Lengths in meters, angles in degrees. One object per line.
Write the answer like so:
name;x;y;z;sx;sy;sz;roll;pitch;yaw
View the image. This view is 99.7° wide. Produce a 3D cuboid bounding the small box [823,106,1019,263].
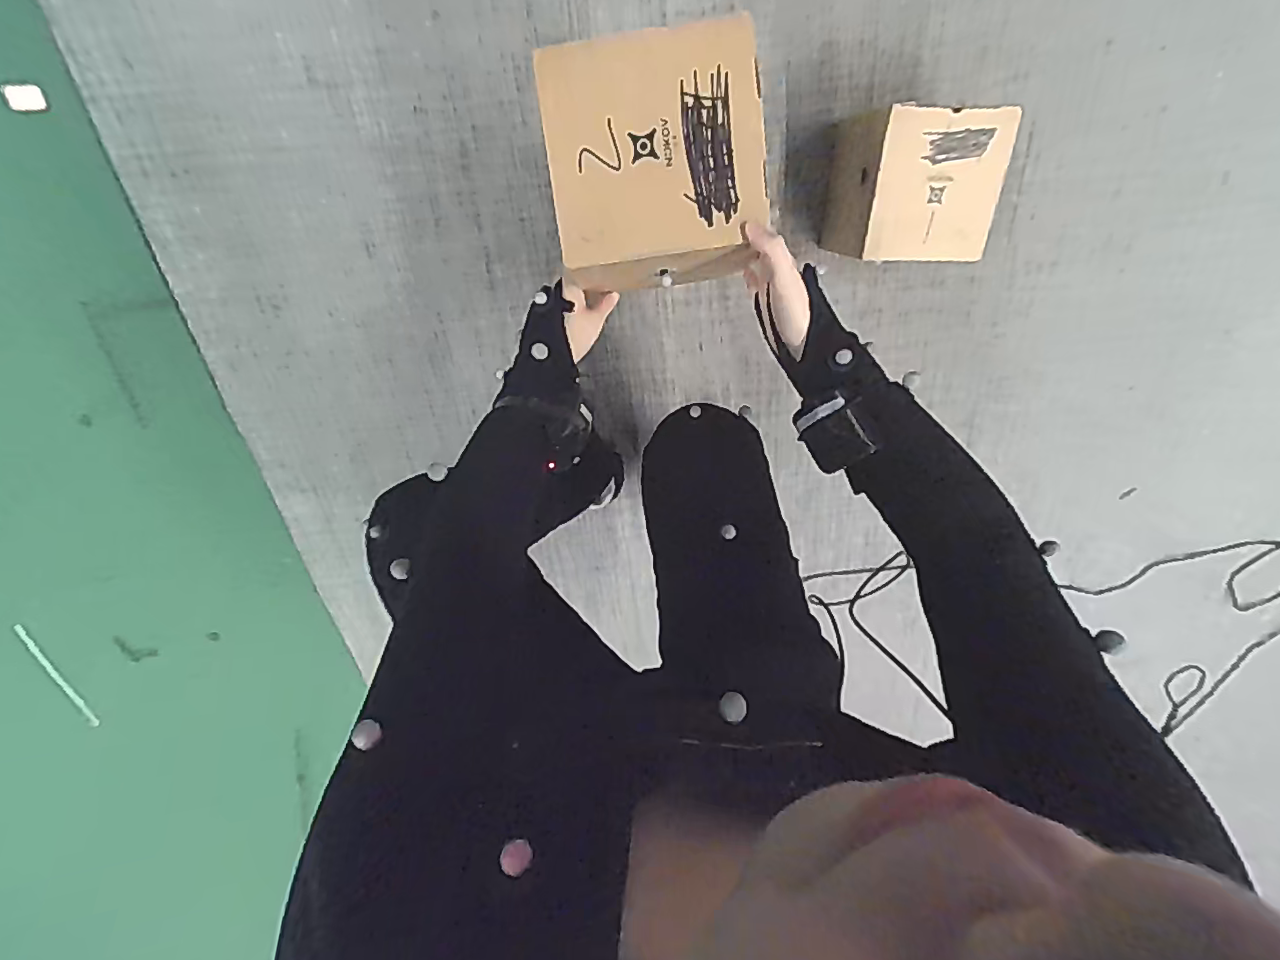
small box;0.372;-0.405;0.755;0.168;0.176;0.179;-2;118;-2
